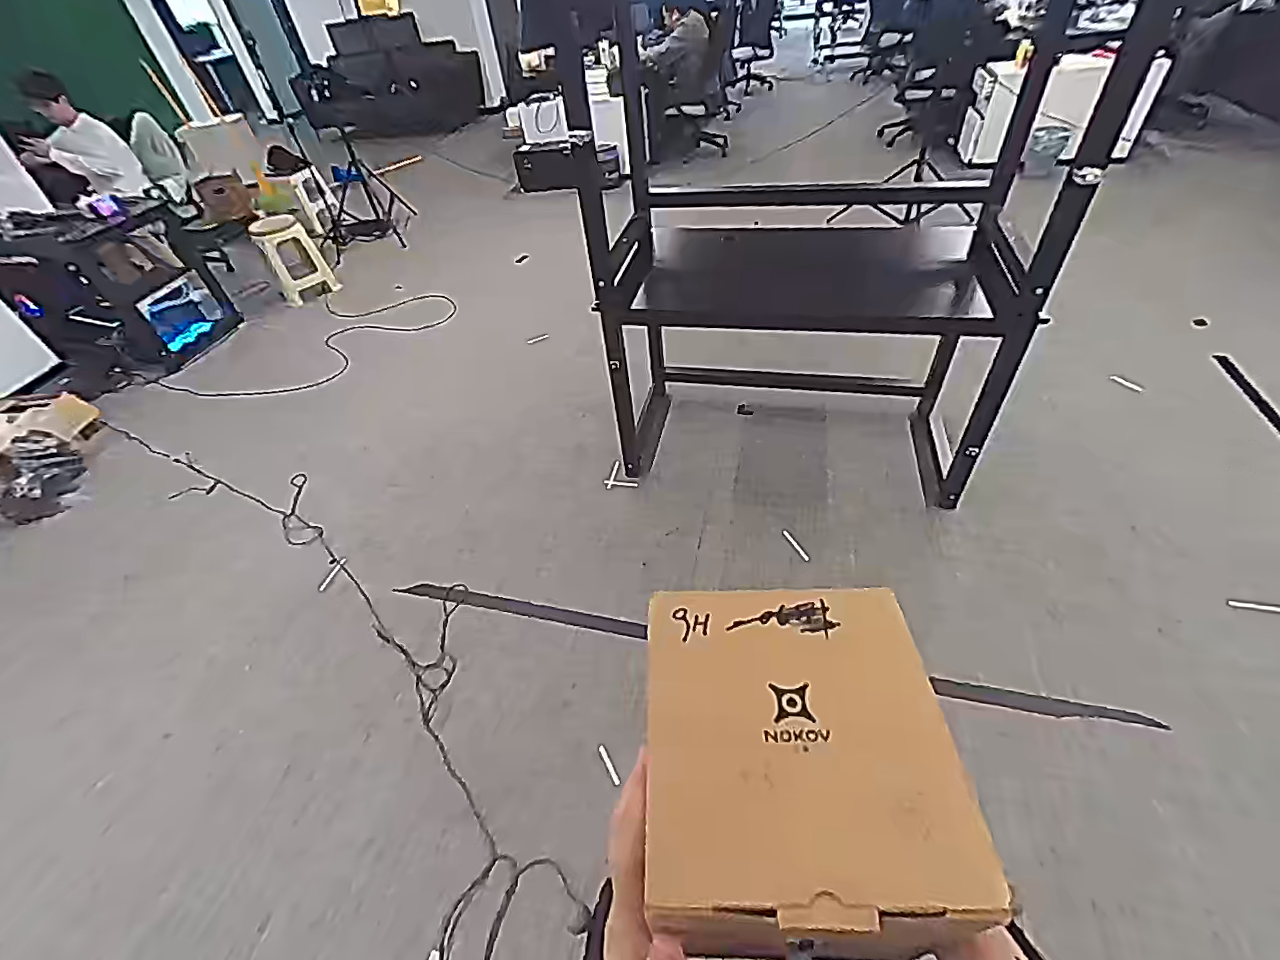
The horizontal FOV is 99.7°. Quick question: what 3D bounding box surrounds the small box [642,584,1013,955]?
[{"bbox_3d":[0.091,0.188,0.354,0.168,0.176,0.179,-1,44,3],"label":"small box"}]
